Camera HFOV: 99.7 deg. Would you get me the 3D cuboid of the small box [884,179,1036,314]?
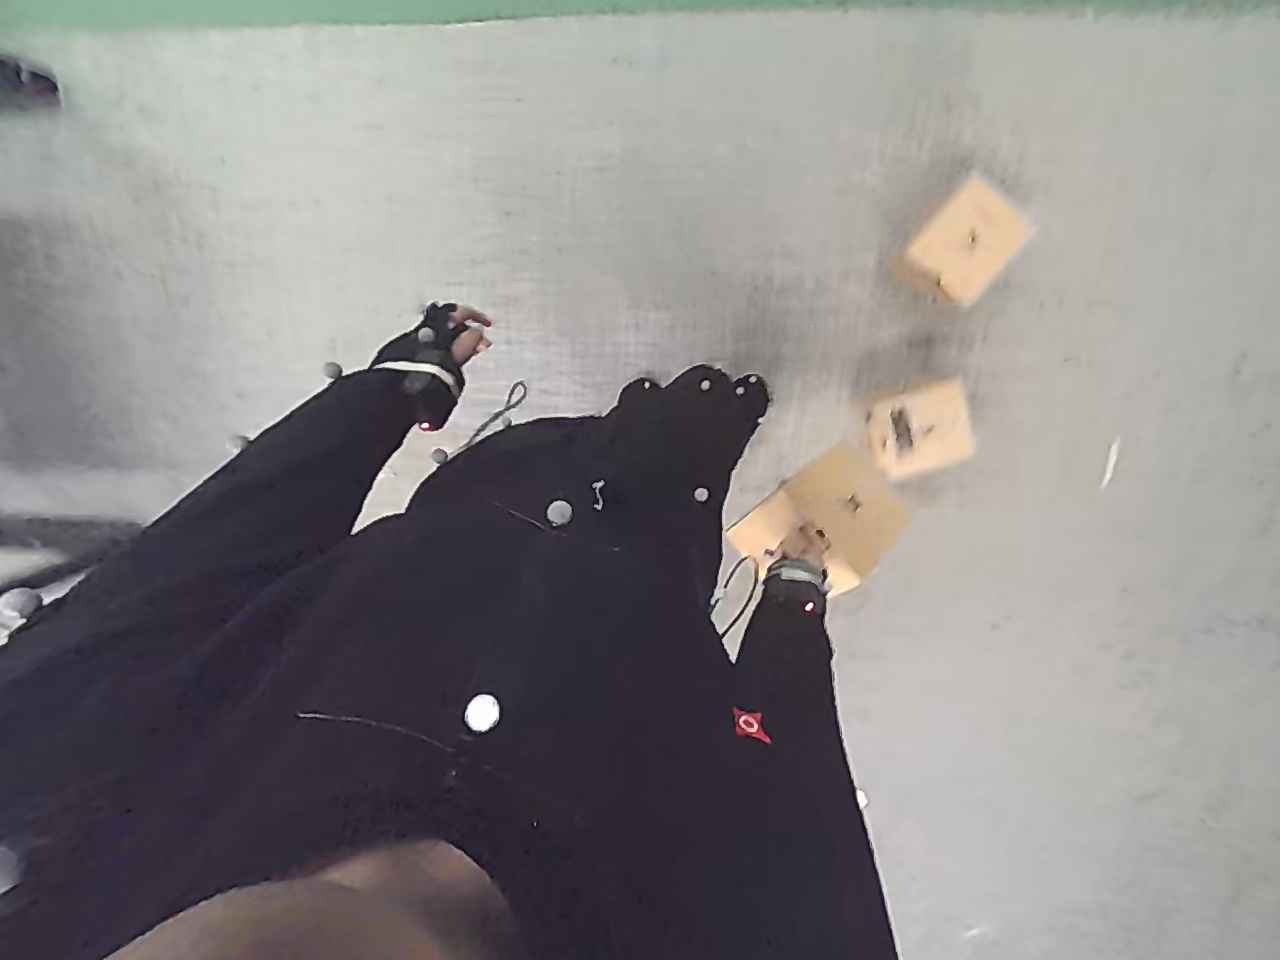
[{"bbox_3d":[0.619,-0.450,1.080,0.168,0.176,0.179,38,104,-6],"label":"small box"}]
